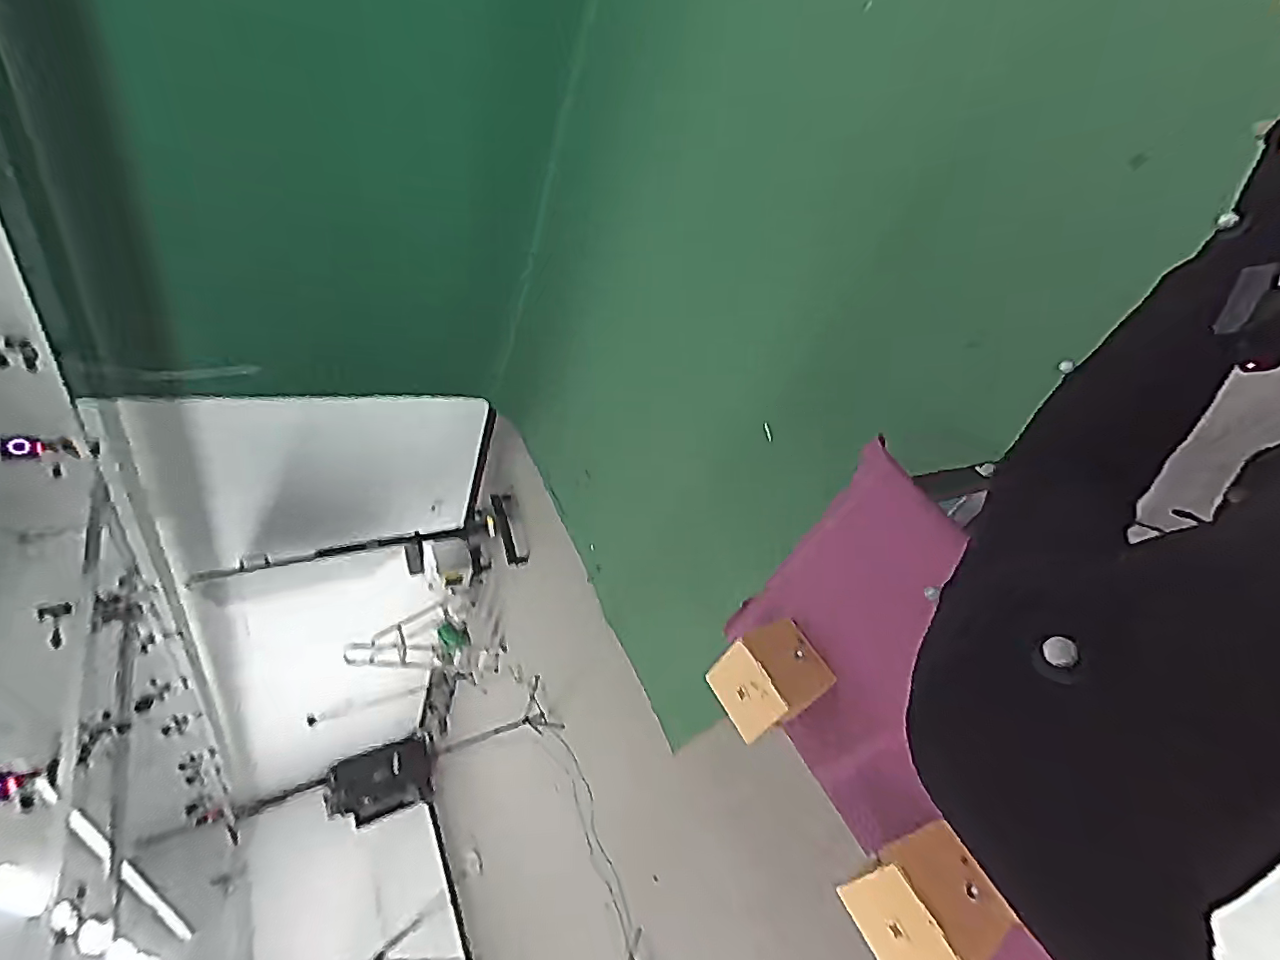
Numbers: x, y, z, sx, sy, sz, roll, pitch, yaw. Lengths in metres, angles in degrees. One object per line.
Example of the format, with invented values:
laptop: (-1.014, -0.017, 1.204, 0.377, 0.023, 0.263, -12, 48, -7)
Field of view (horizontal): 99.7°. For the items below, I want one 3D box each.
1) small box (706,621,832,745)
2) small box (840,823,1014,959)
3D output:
small box: (0.282, 0.439, 1.182, 0.168, 0.176, 0.179, 54, 135, 31)
small box: (0.497, 0.741, 0.942, 0.168, 0.176, 0.179, 55, 136, 33)
